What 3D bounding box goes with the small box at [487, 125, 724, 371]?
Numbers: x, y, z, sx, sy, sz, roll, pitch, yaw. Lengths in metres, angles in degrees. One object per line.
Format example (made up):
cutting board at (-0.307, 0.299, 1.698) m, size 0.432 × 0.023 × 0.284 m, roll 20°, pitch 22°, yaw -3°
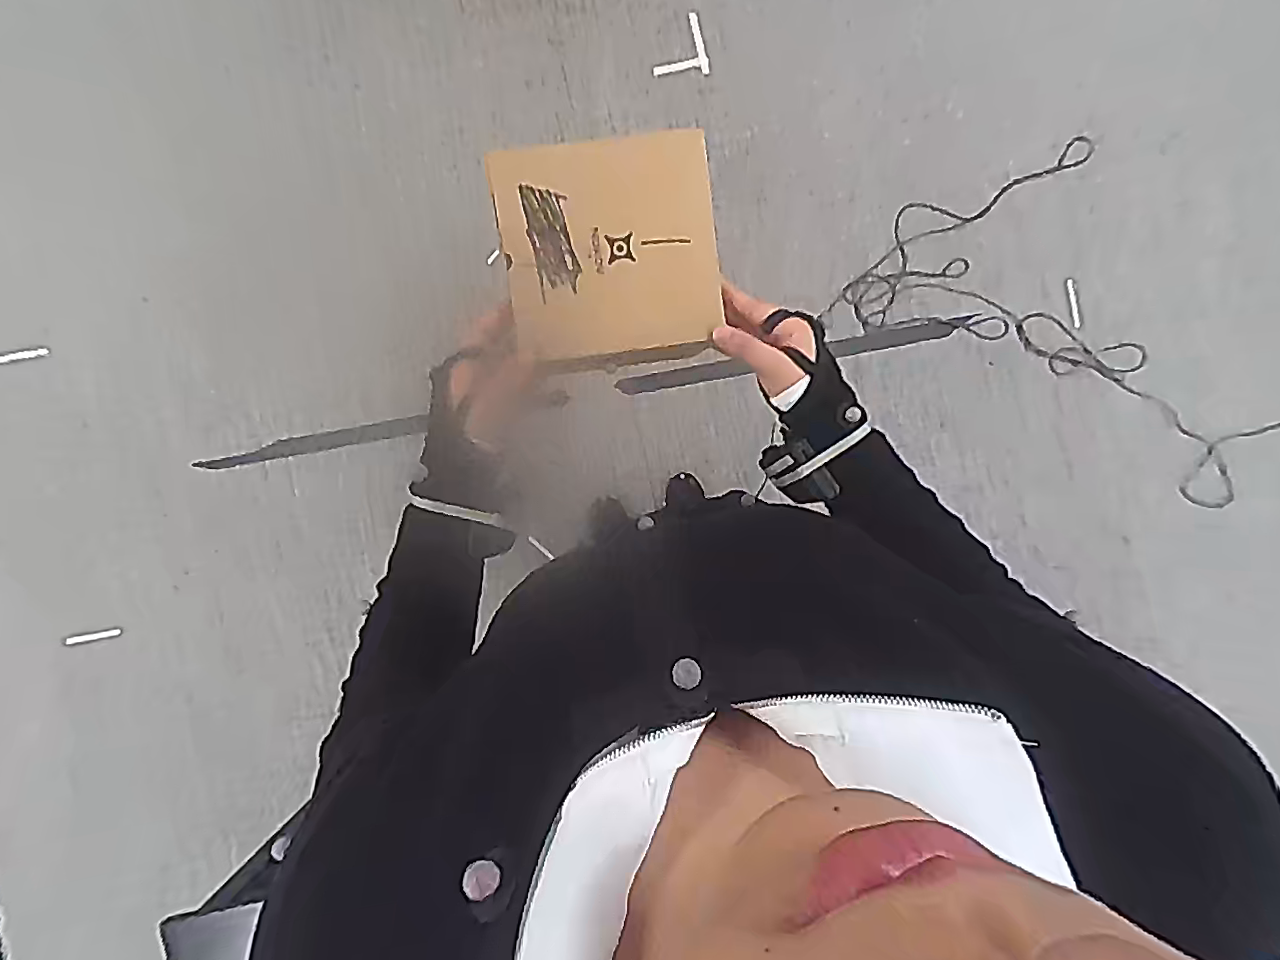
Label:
small box at (-0.029, -0.201, 0.515) m, size 0.179 × 0.176 × 0.168 m, roll -8°, pitch 98°, yaw -3°
